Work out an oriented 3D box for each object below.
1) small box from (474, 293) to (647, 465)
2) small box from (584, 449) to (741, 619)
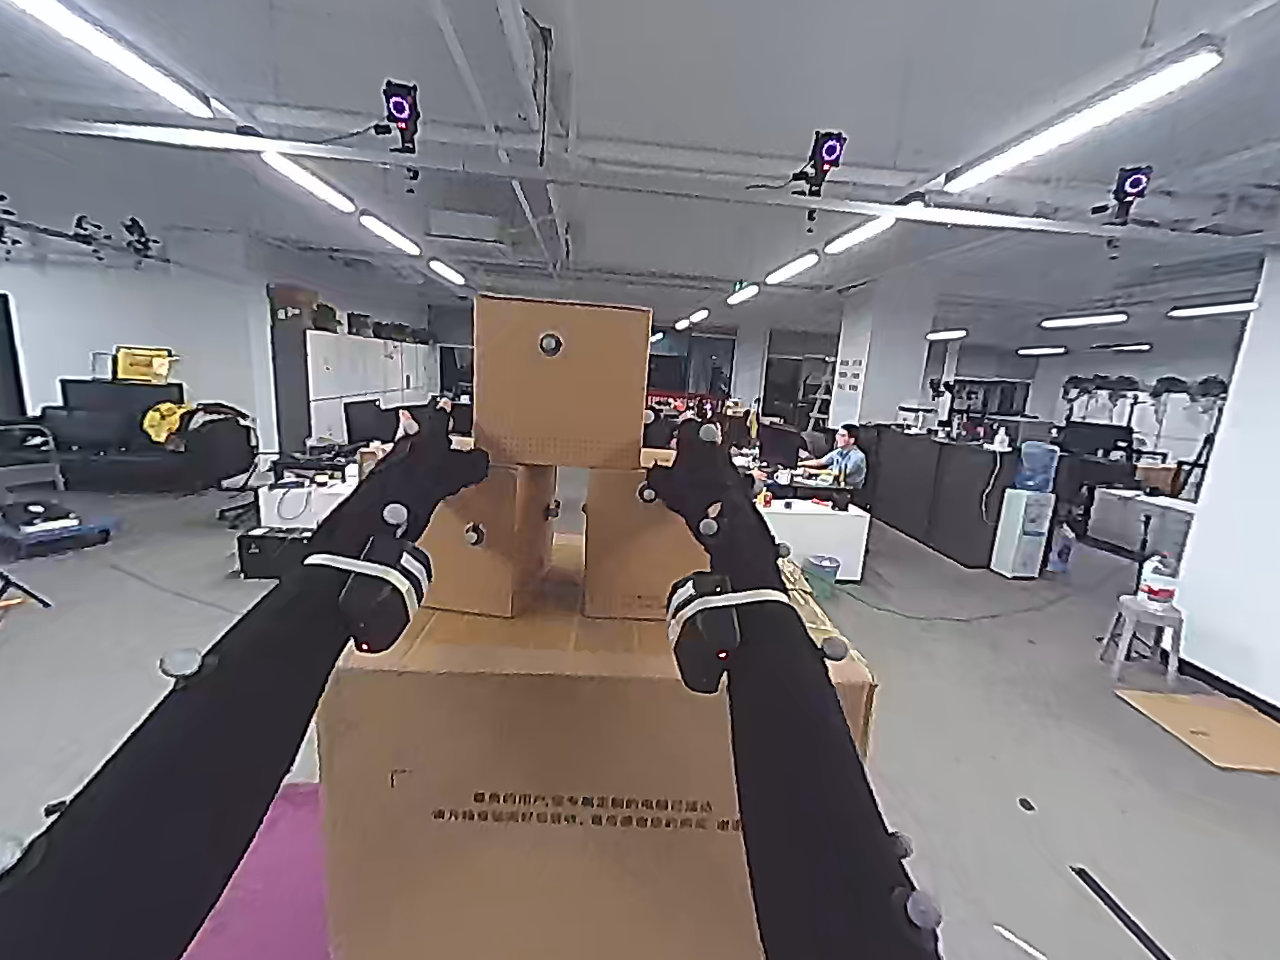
[{"bbox_3d":[-0.088,-0.112,0.629,0.179,0.176,0.168,3,11,-5],"label":"small box"},{"bbox_3d":[0.021,0.056,0.663,0.168,0.176,0.179,2,10,-2],"label":"small box"}]
